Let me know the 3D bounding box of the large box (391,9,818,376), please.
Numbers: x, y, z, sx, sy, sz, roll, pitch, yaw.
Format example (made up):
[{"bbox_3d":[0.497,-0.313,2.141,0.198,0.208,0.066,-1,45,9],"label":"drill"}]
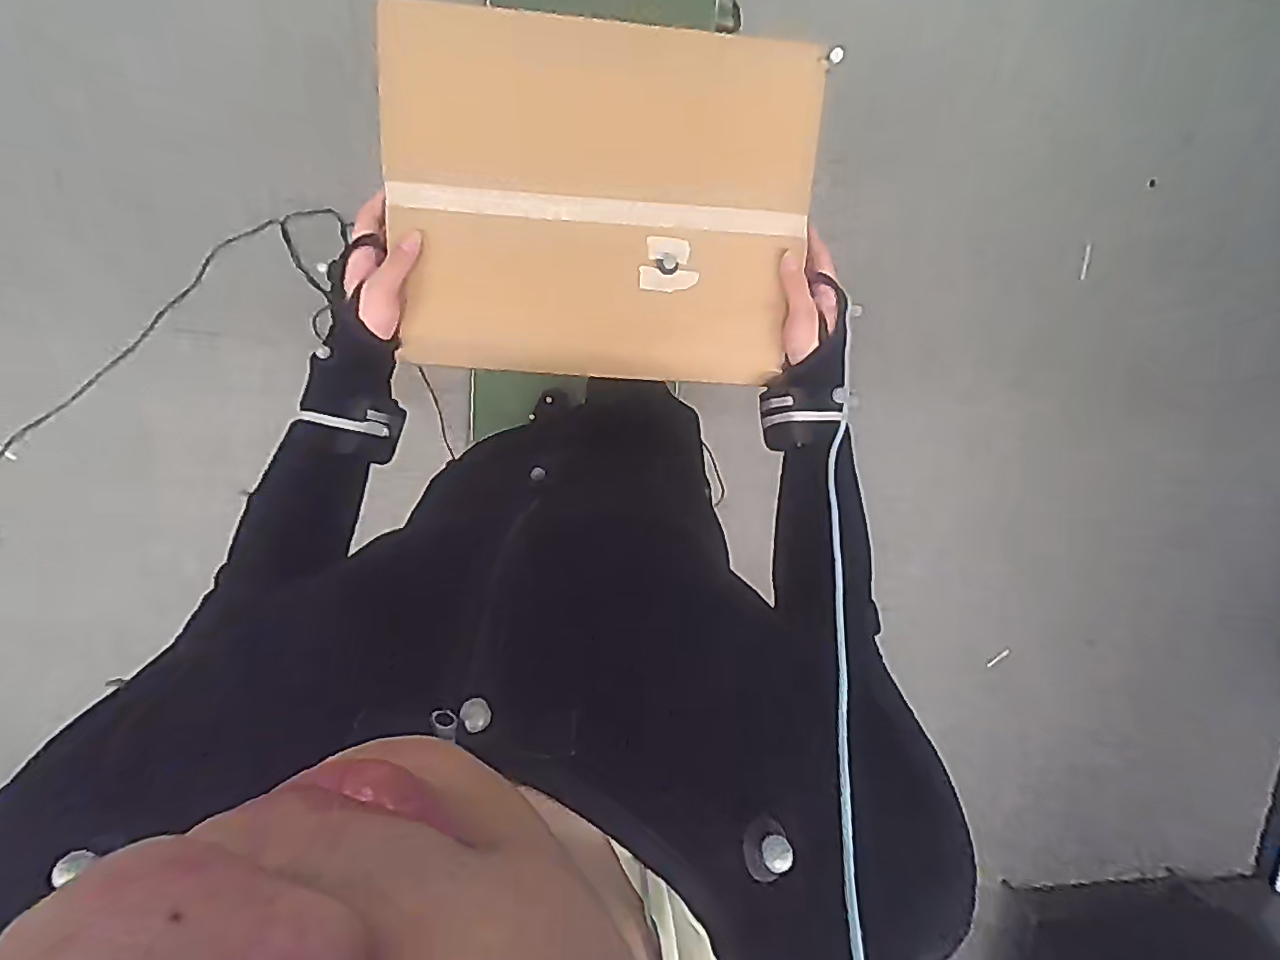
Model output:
[{"bbox_3d":[-0.046,-0.300,0.676,0.408,0.320,0.320,2,104,-5],"label":"large box"}]
